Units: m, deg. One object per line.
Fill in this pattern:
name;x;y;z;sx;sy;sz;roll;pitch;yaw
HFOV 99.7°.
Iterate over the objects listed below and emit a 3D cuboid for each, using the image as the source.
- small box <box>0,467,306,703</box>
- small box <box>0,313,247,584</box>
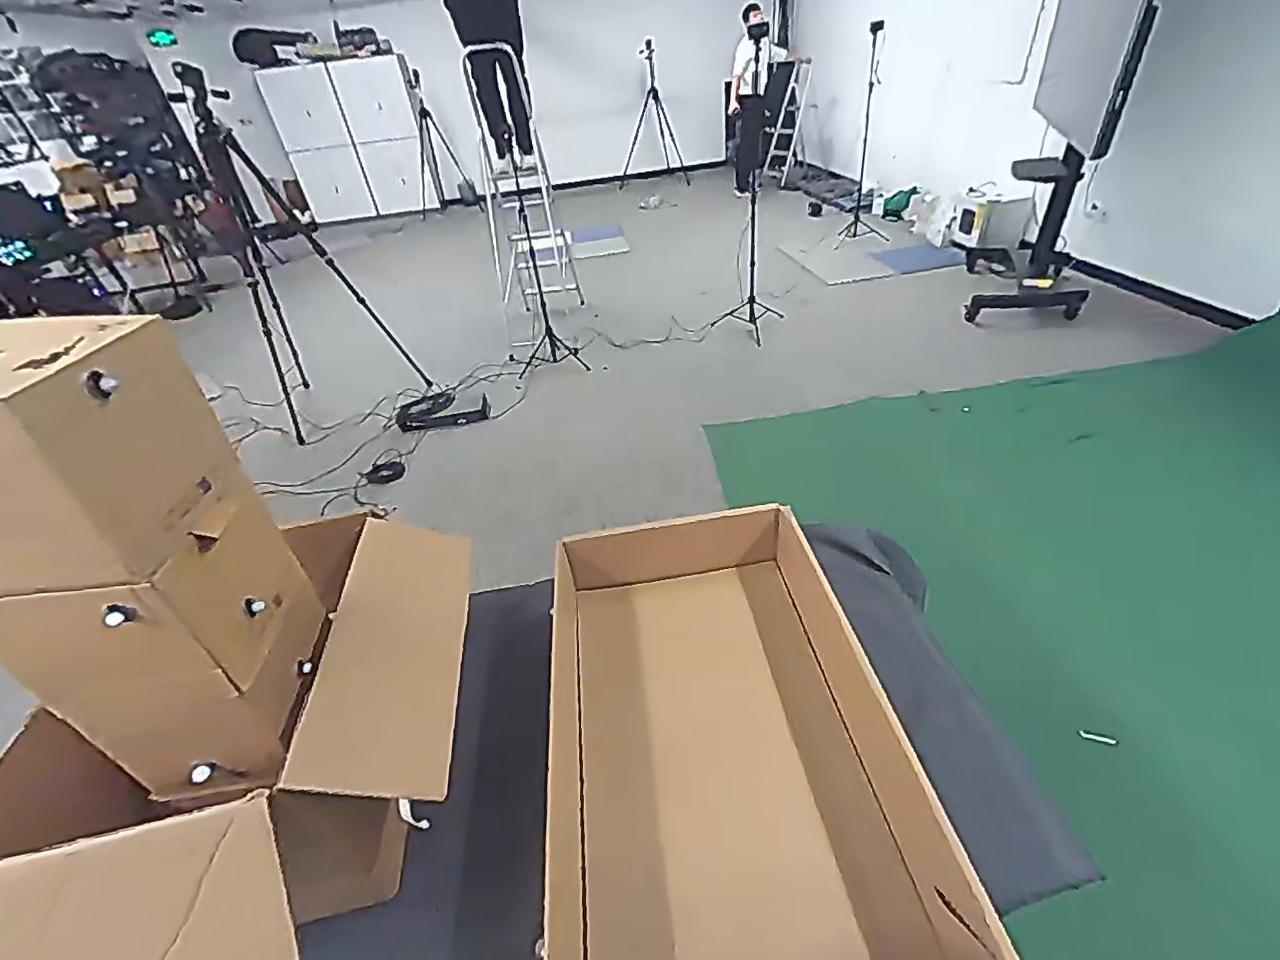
small box;-0.487;0.106;0.552;0.179;0.176;0.168;-5;37;-5
small box;-0.491;-0.028;0.457;0.179;0.176;0.168;-5;37;-4
